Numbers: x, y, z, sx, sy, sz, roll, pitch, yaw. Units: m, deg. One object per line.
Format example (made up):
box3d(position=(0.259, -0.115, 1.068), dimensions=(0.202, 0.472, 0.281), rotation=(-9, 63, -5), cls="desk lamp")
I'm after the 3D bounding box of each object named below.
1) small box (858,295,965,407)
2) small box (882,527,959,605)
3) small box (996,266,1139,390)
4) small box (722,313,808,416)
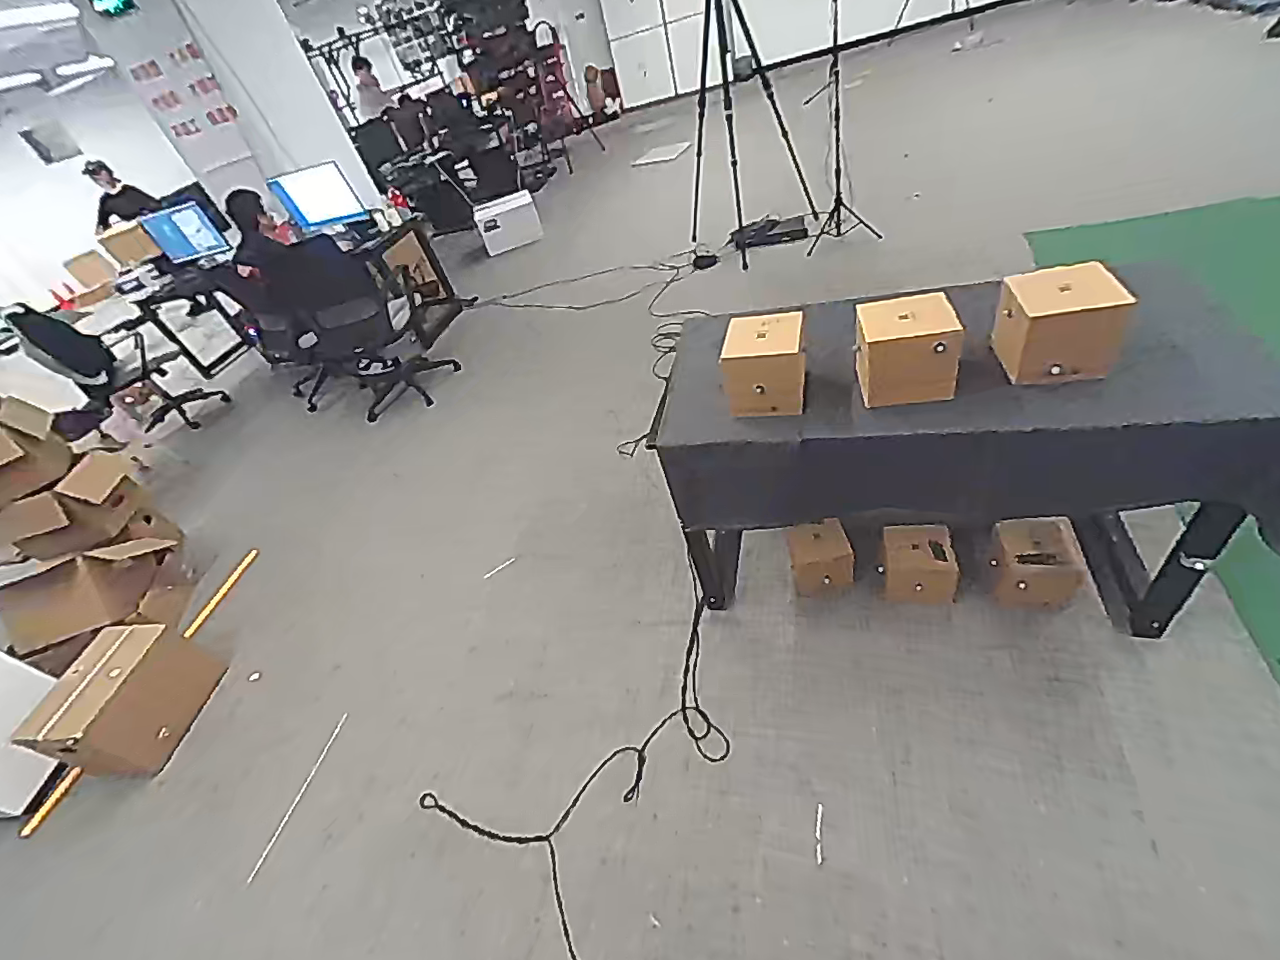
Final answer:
box3d(position=(0.569, -0.270, 1.157), dimensions=(0.179, 0.176, 0.168), rotation=(-4, 43, 16), cls="small box")
box3d(position=(0.820, 0.256, 1.595), dimensions=(0.179, 0.176, 0.168), rotation=(-3, 44, 19), cls="small box")
box3d(position=(0.842, -0.303, 1.088), dimensions=(0.168, 0.176, 0.179), rotation=(-3, 44, 19), cls="small box")
box3d(position=(0.294, -0.260, 1.246), dimensions=(0.168, 0.176, 0.179), rotation=(1, 45, 21), cls="small box")
